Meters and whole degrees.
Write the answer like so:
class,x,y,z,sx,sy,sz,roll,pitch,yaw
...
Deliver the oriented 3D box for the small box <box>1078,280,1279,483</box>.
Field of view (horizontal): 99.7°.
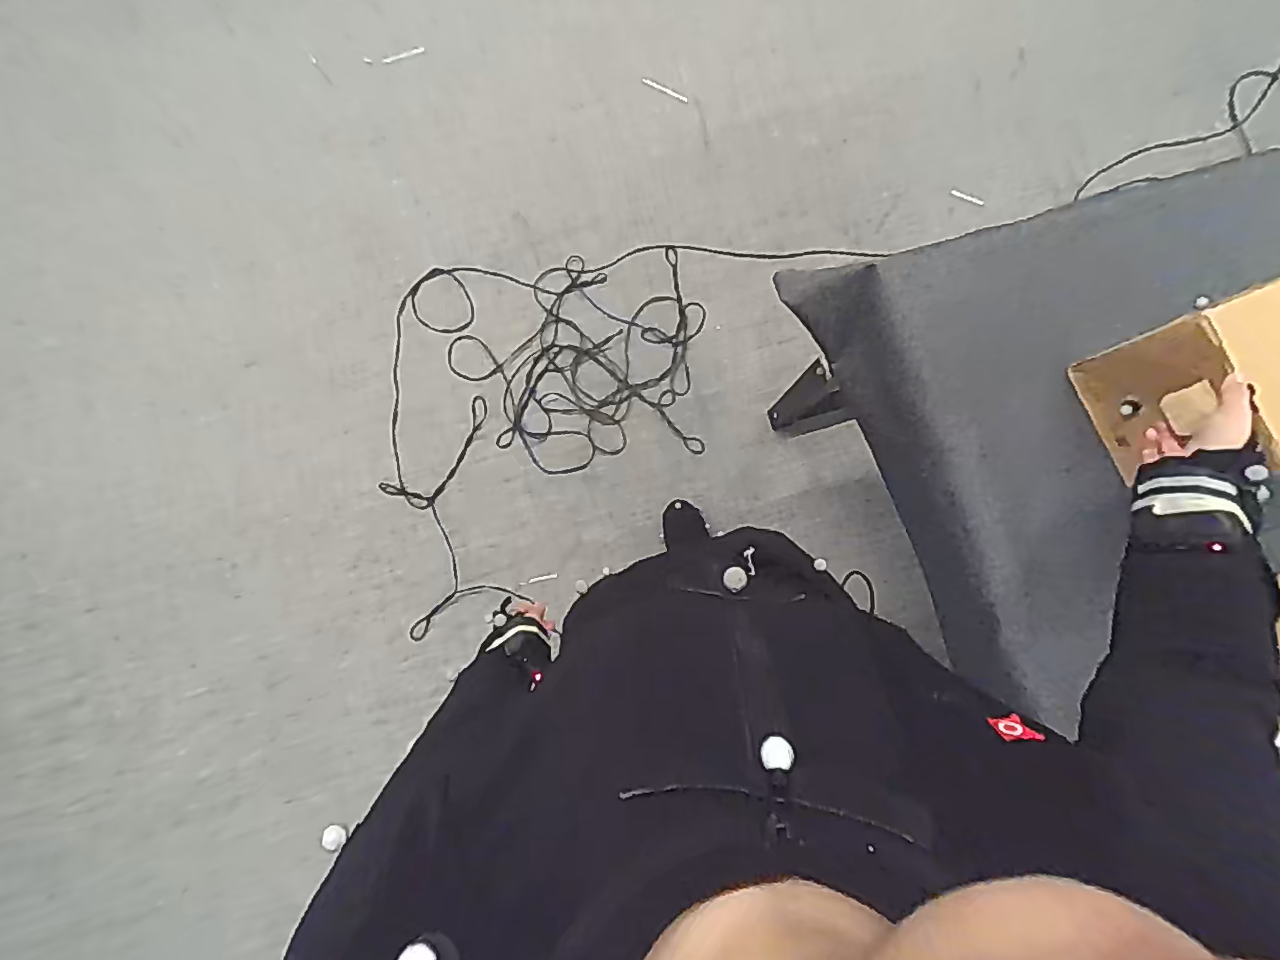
class,x,y,z,sx,sy,sz,roll,pitch,yaw
small box,0.638,-0.107,0.576,0.179,0.176,0.168,-23,85,-2
